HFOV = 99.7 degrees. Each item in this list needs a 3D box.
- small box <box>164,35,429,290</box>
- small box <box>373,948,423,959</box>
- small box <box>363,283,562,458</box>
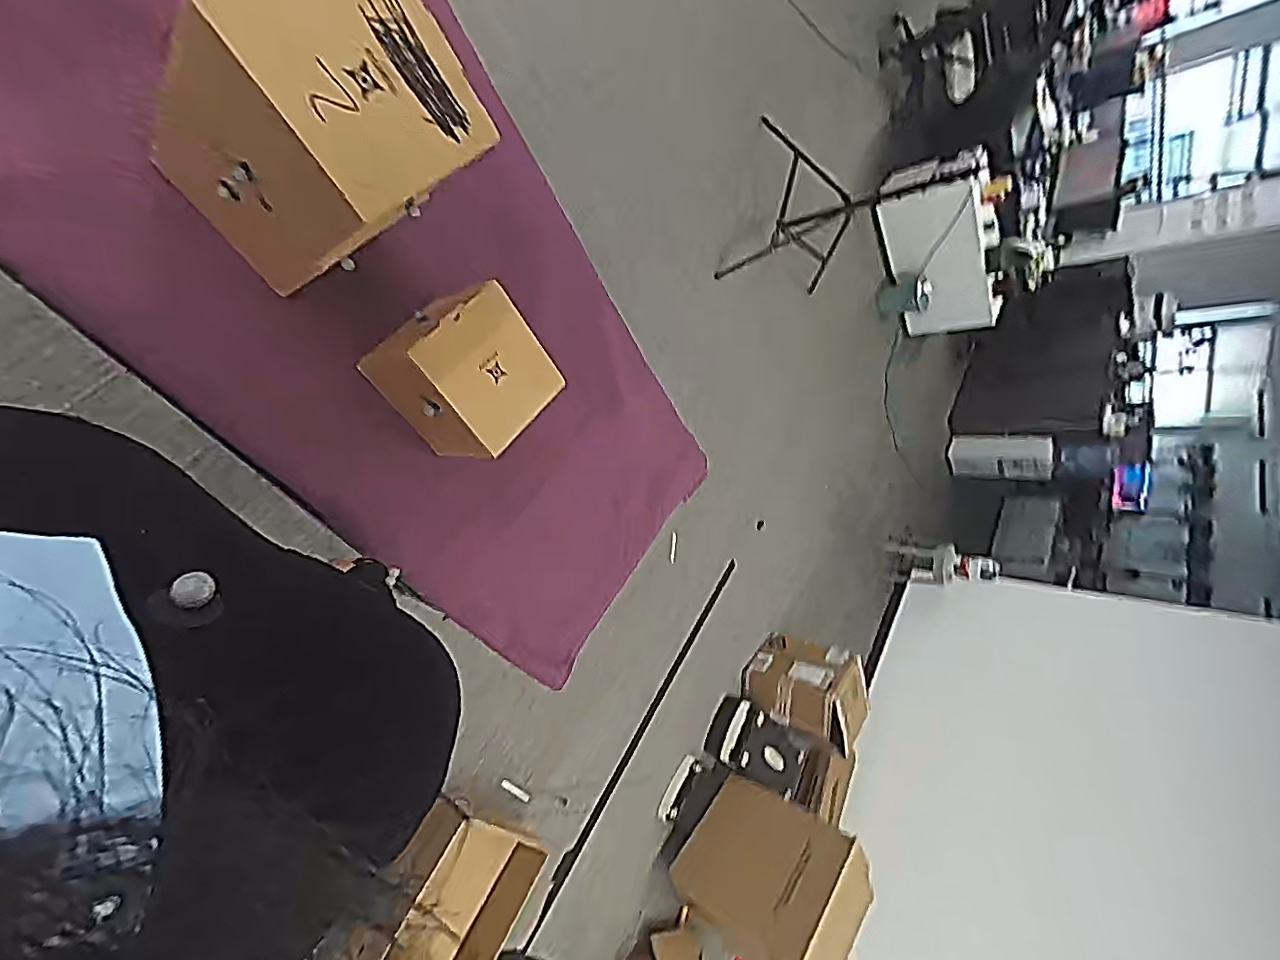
[{"bbox_3d":[-0.390,-0.344,0.617,0.168,0.176,0.179,-54,128,-28],"label":"small box"},{"bbox_3d":[-0.667,1.411,1.453,0.168,0.176,0.179,-57,130,-26],"label":"small box"},{"bbox_3d":[-0.253,-0.151,0.776,0.168,0.176,0.179,-53,127,-29],"label":"small box"}]
